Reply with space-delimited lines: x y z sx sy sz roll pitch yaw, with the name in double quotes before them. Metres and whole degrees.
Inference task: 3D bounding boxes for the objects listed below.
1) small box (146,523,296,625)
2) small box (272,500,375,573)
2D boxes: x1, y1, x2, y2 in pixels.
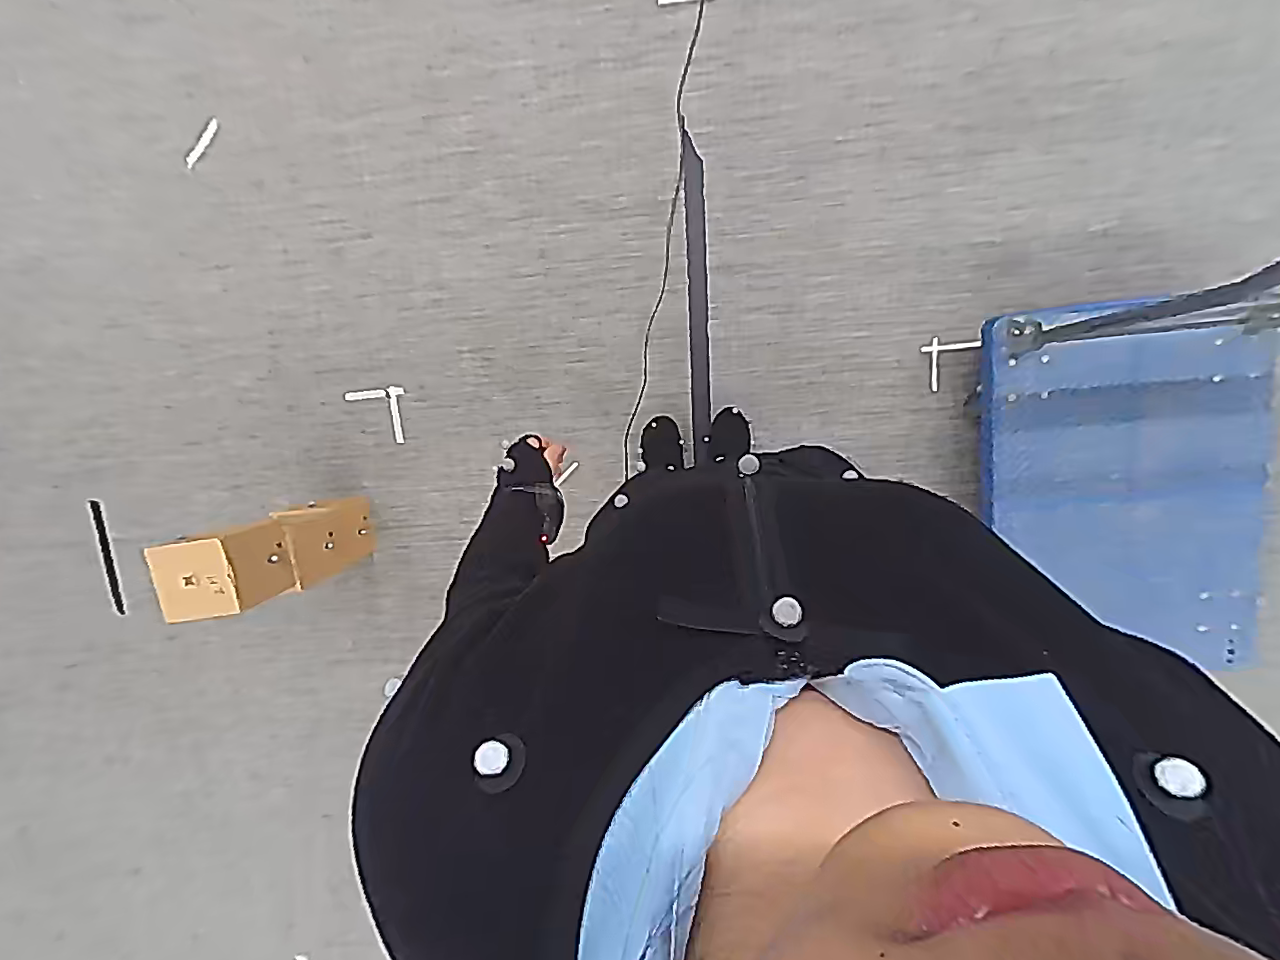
"small box" -0.905 0.200 1.183 0.179 0.176 0.168 -9 98 4
"small box" -0.875 0.155 1.508 0.179 0.176 0.168 -5 98 5
